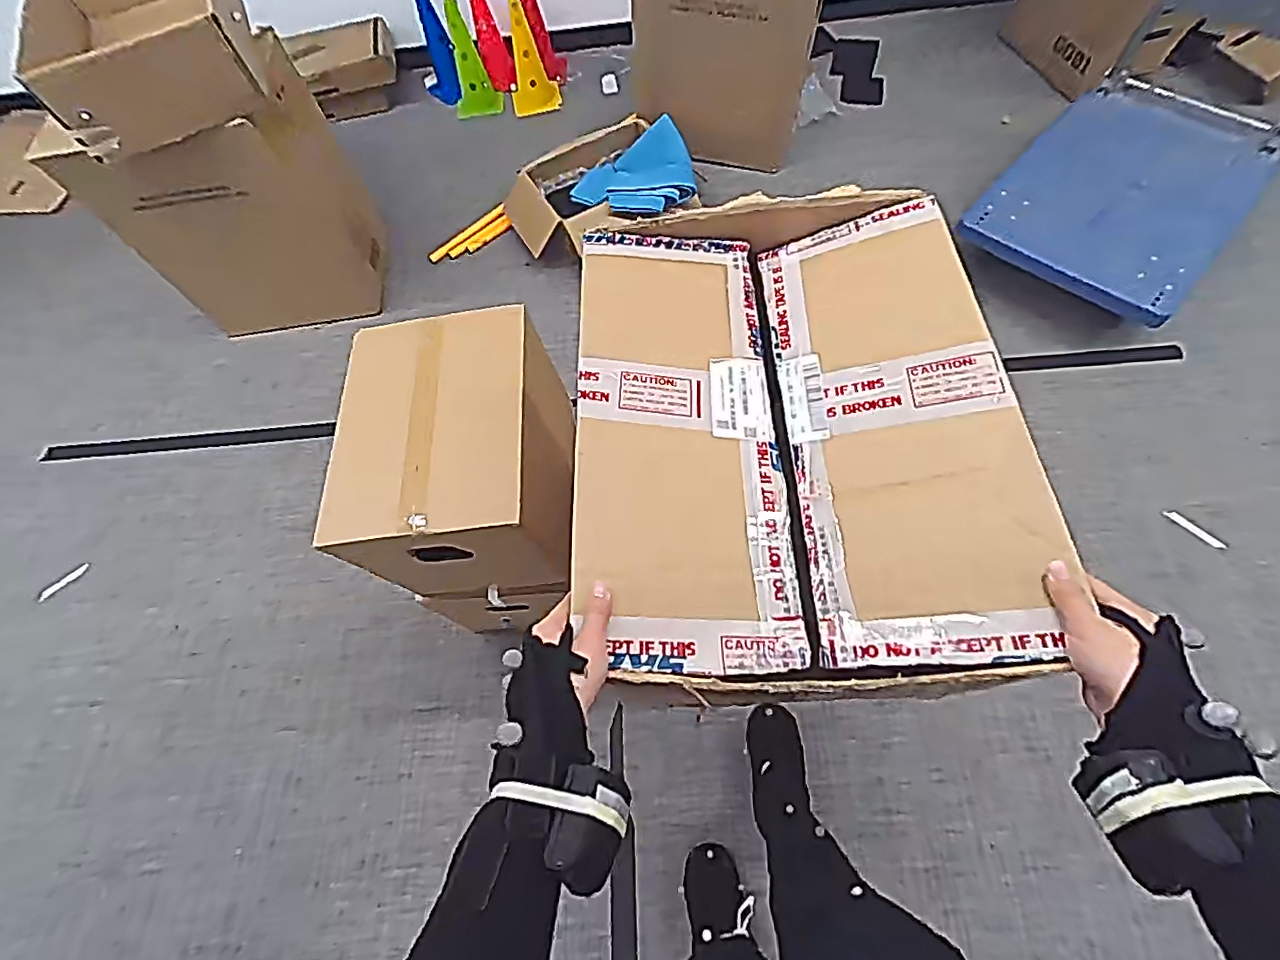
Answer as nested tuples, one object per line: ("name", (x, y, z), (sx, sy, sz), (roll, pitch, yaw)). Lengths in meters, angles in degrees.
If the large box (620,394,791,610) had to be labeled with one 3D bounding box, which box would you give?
("large box", (0.132, 0.062, 1.261), (0.320, 0.320, 0.408), (-6, 64, 2))
